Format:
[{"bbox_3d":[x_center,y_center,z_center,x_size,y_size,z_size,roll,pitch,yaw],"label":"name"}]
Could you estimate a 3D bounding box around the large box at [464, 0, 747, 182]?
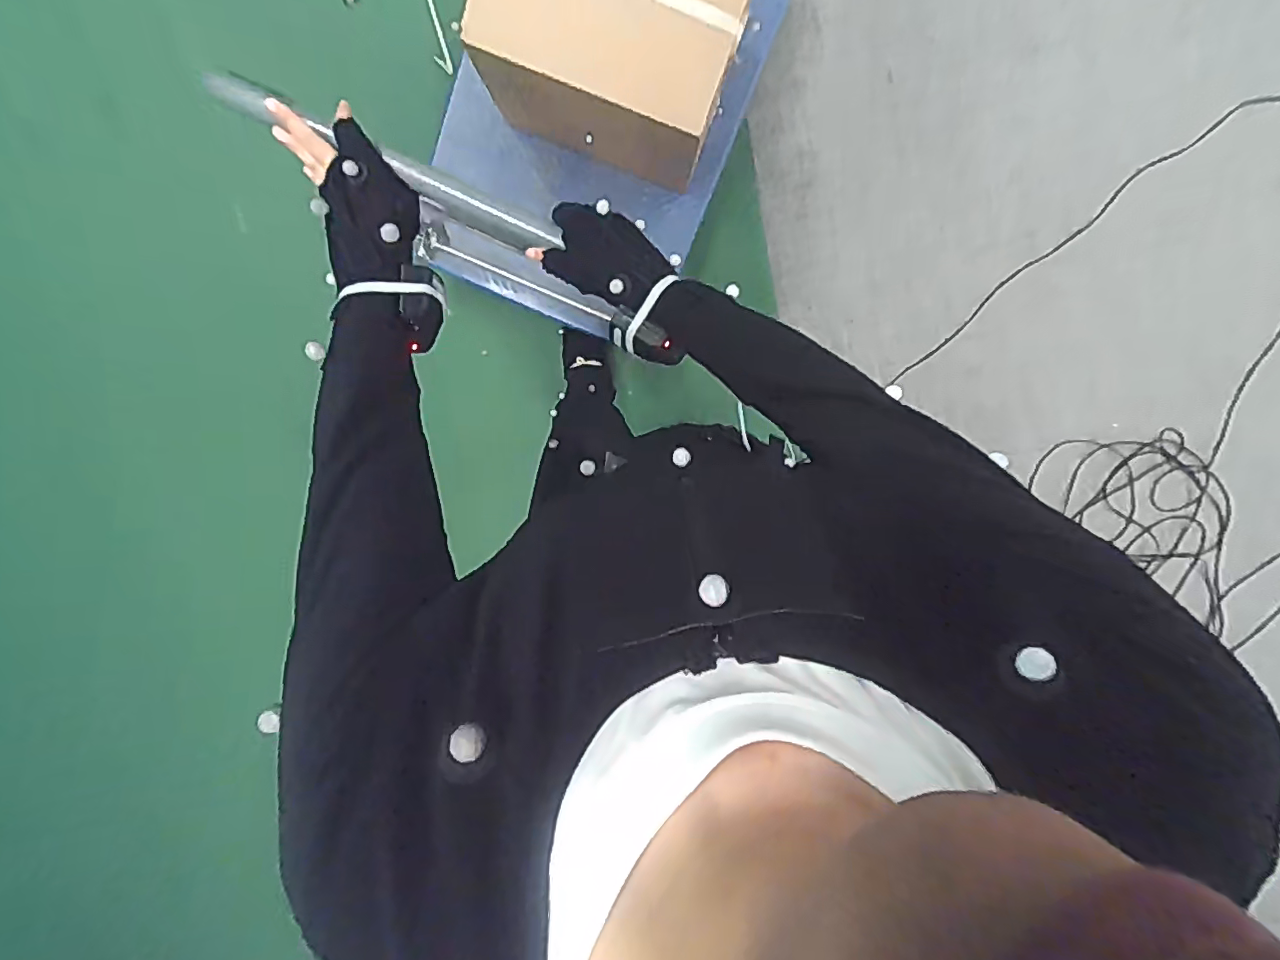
[{"bbox_3d":[-0.038,-0.797,0.969,0.408,0.320,0.320,19,102,-4],"label":"large box"}]
